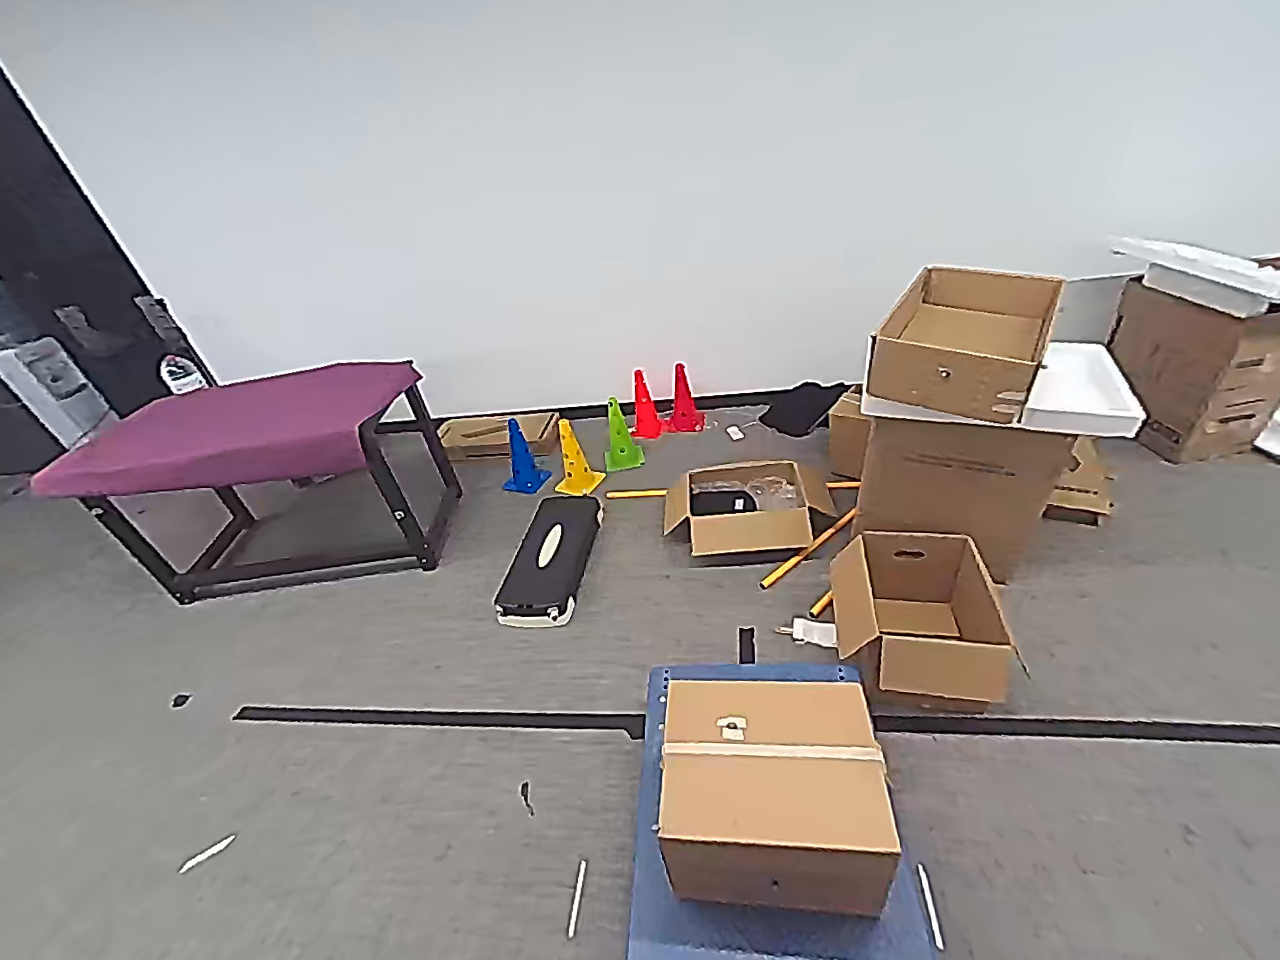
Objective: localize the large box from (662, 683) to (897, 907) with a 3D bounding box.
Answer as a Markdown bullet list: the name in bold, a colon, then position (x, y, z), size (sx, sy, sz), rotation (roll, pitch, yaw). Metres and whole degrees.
- **large box**: position (0.271, 0.654, 1.132), size (0.408, 0.320, 0.320), rotation (-5, 35, 10)
